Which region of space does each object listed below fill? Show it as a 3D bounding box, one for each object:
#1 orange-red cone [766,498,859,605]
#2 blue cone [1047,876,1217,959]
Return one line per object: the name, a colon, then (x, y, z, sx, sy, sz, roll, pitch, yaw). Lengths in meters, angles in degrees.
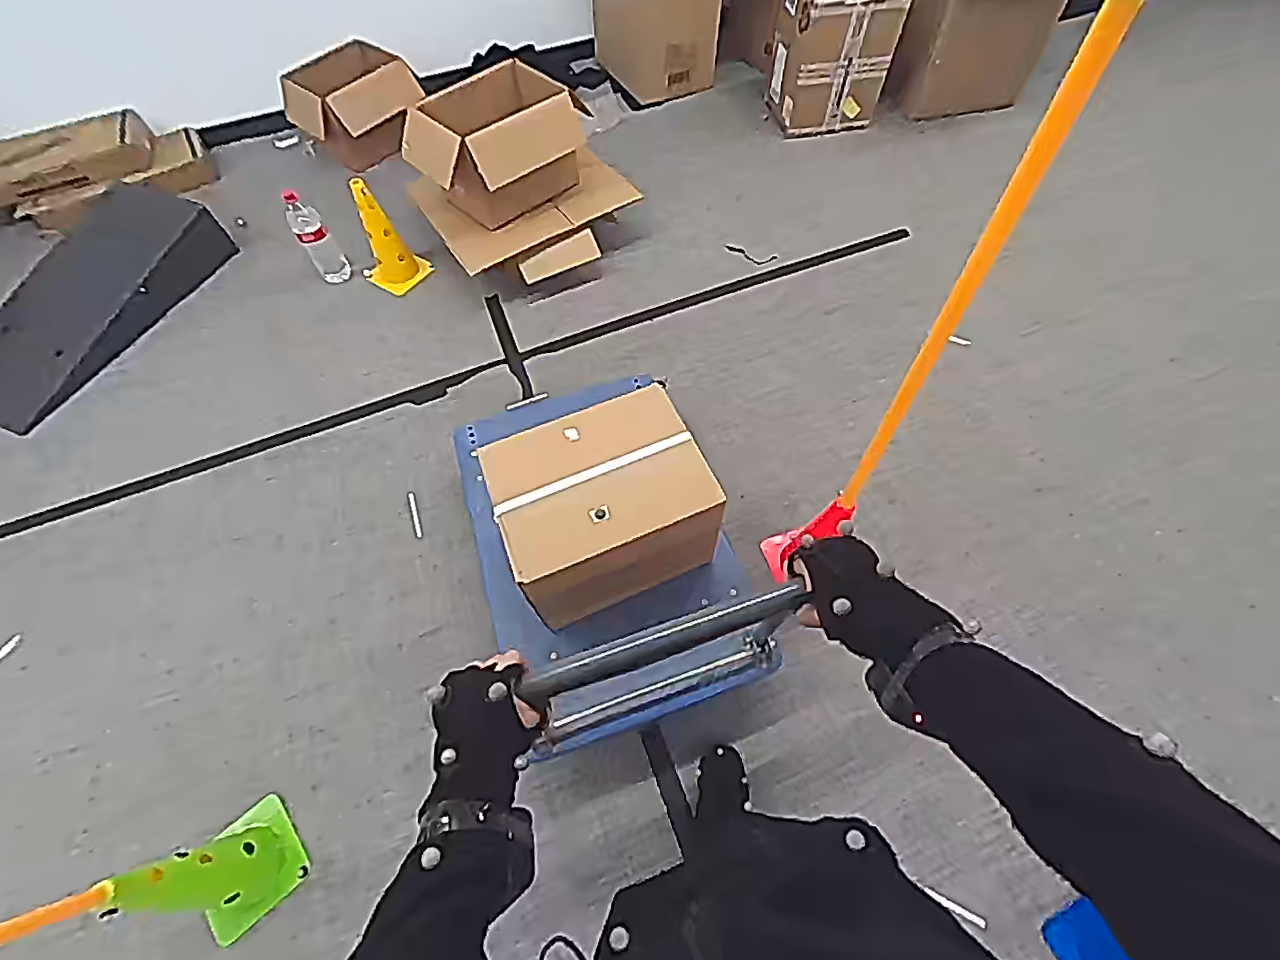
orange-red cone: (0.449, 0.138, 1.288, 0.199, 0.360, 0.198, -14, 61, -7)
blue cone: (0.905, 0.821, 0.895, 0.193, 0.380, 0.192, -24, 61, -11)
